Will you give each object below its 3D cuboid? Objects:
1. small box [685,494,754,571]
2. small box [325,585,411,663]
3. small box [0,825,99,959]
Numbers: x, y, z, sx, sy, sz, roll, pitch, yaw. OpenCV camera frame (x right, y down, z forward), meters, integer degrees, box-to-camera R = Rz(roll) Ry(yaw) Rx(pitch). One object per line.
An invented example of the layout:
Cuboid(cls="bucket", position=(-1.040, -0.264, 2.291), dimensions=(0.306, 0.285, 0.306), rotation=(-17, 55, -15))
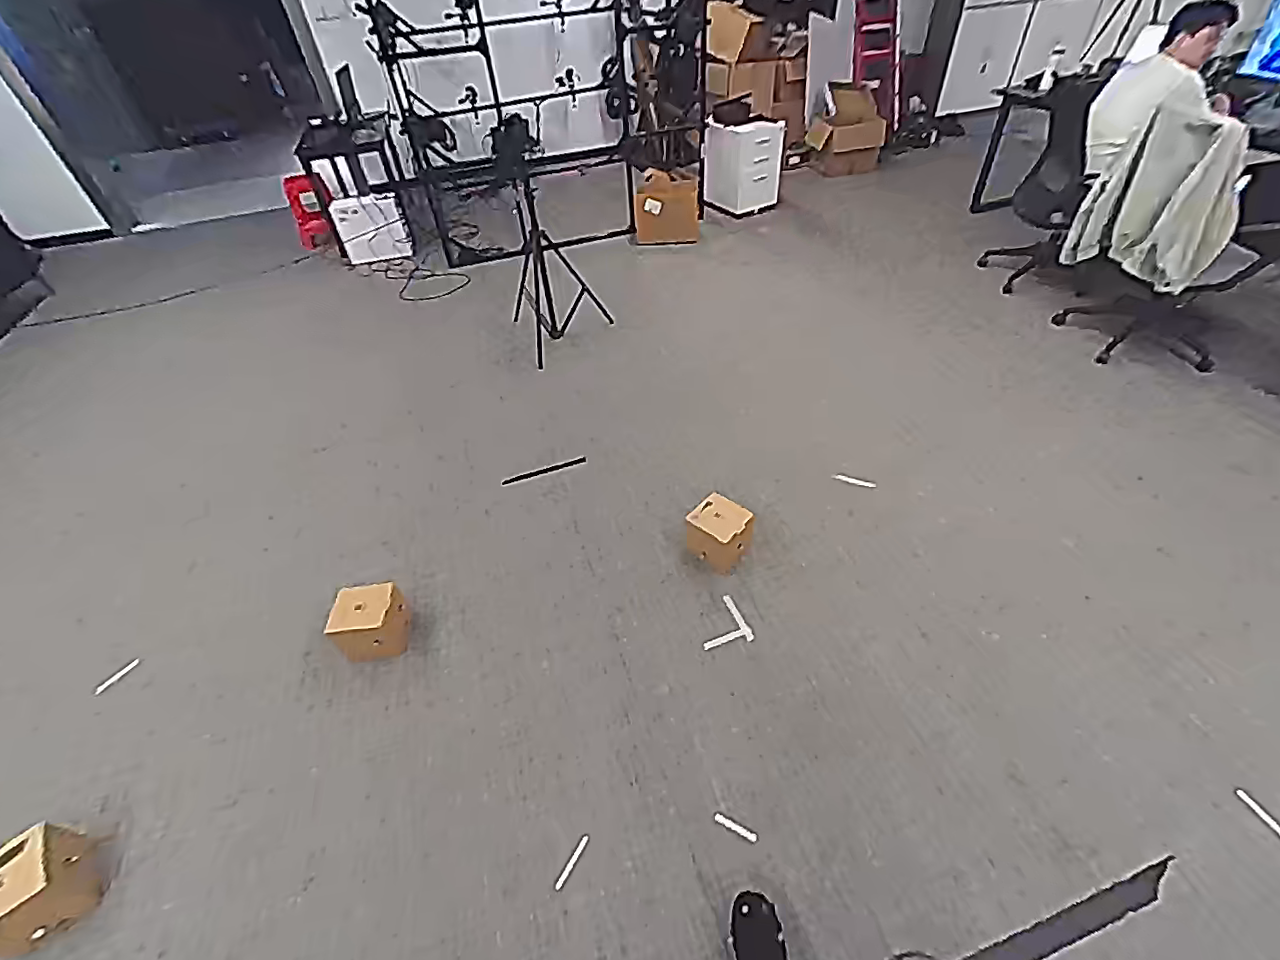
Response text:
Cuboid(cls="small box", position=(0.272, 0.187, 1.869), dimensions=(0.179, 0.176, 0.168), rotation=(31, 55, 32))
Cuboid(cls="small box", position=(-0.846, 0.456, 1.705), dimensions=(0.179, 0.176, 0.168), rotation=(-8, 42, -1))
Cuboid(cls="small box", position=(-1.397, 0.944, 1.235), dimensions=(0.168, 0.176, 0.179), rotation=(-33, 51, -26))
